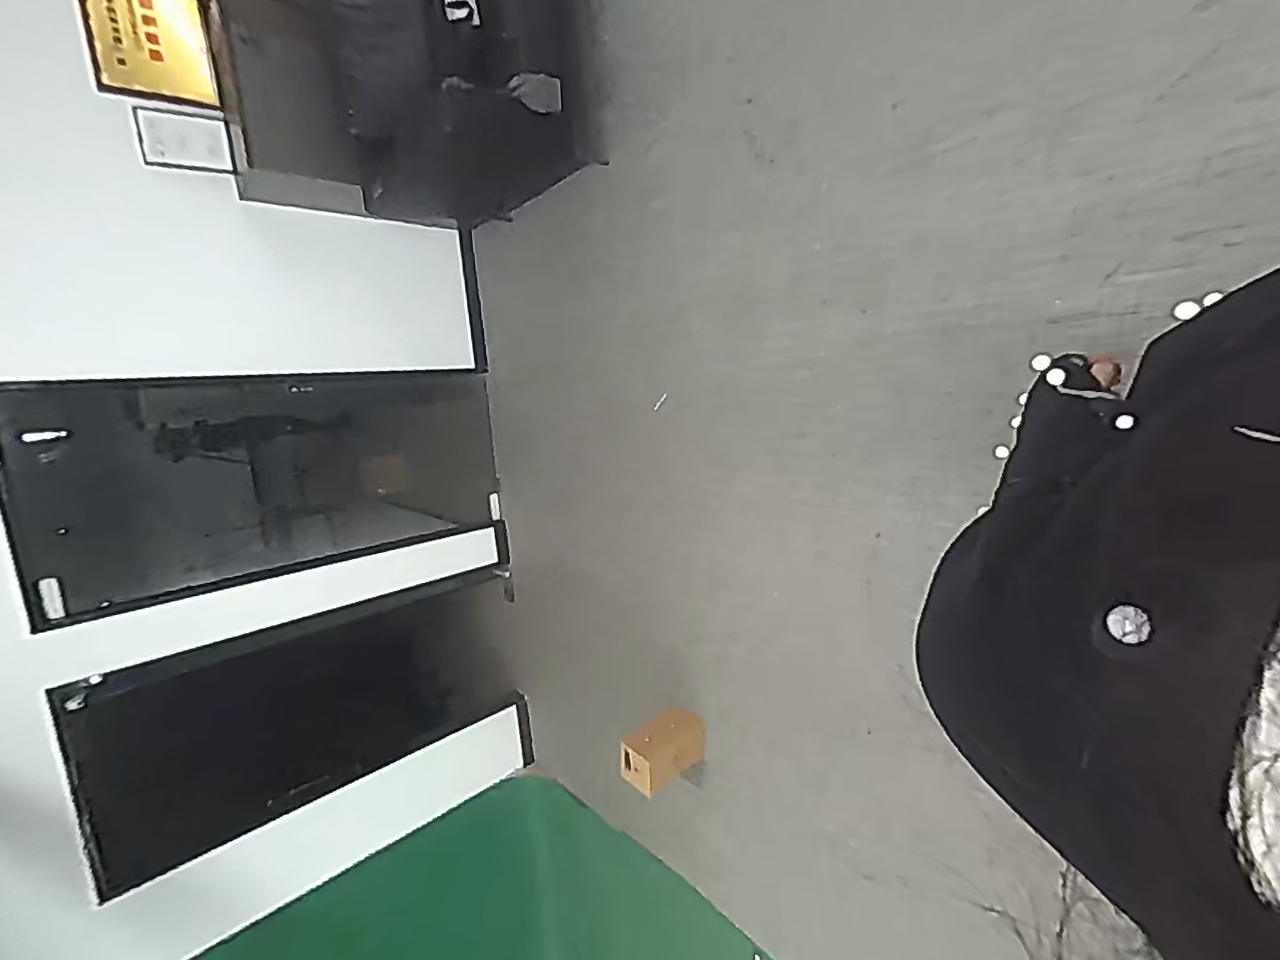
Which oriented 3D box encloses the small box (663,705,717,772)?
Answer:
[{"bbox_3d":[0.216,1.103,2.329,0.179,0.176,0.168,15,111,47],"label":"small box"}]
